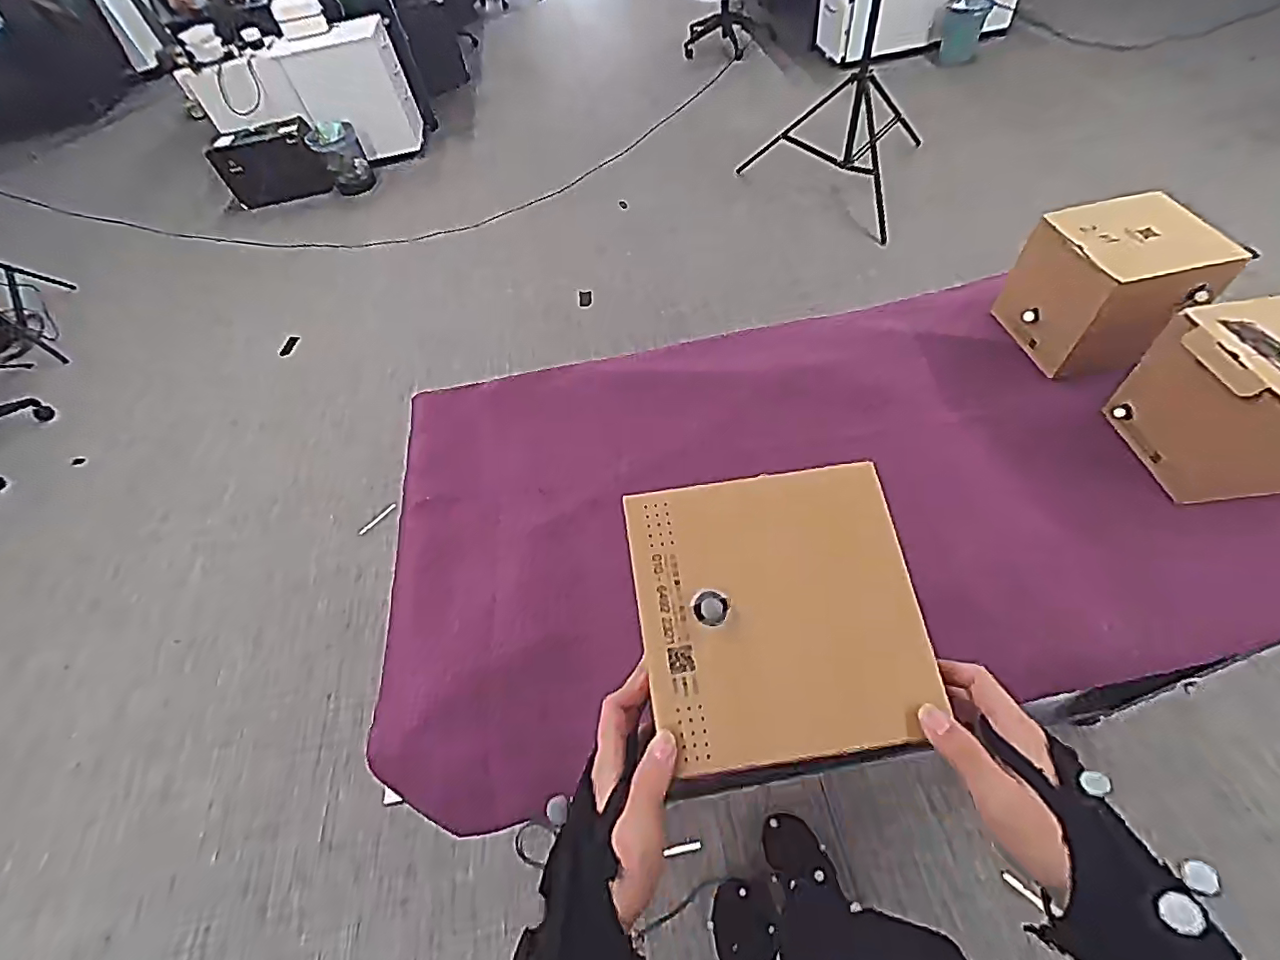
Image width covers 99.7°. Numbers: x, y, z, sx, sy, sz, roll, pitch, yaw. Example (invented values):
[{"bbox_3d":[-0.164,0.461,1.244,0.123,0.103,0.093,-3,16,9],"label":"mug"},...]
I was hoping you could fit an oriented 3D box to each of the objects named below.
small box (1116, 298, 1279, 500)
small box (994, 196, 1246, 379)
[{"bbox_3d":[0.721,-0.091,0.636,0.179,0.176,0.168,-7,52,3],"label":"small box"},{"bbox_3d":[0.662,-0.271,0.777,0.179,0.176,0.168,-12,54,0],"label":"small box"}]
